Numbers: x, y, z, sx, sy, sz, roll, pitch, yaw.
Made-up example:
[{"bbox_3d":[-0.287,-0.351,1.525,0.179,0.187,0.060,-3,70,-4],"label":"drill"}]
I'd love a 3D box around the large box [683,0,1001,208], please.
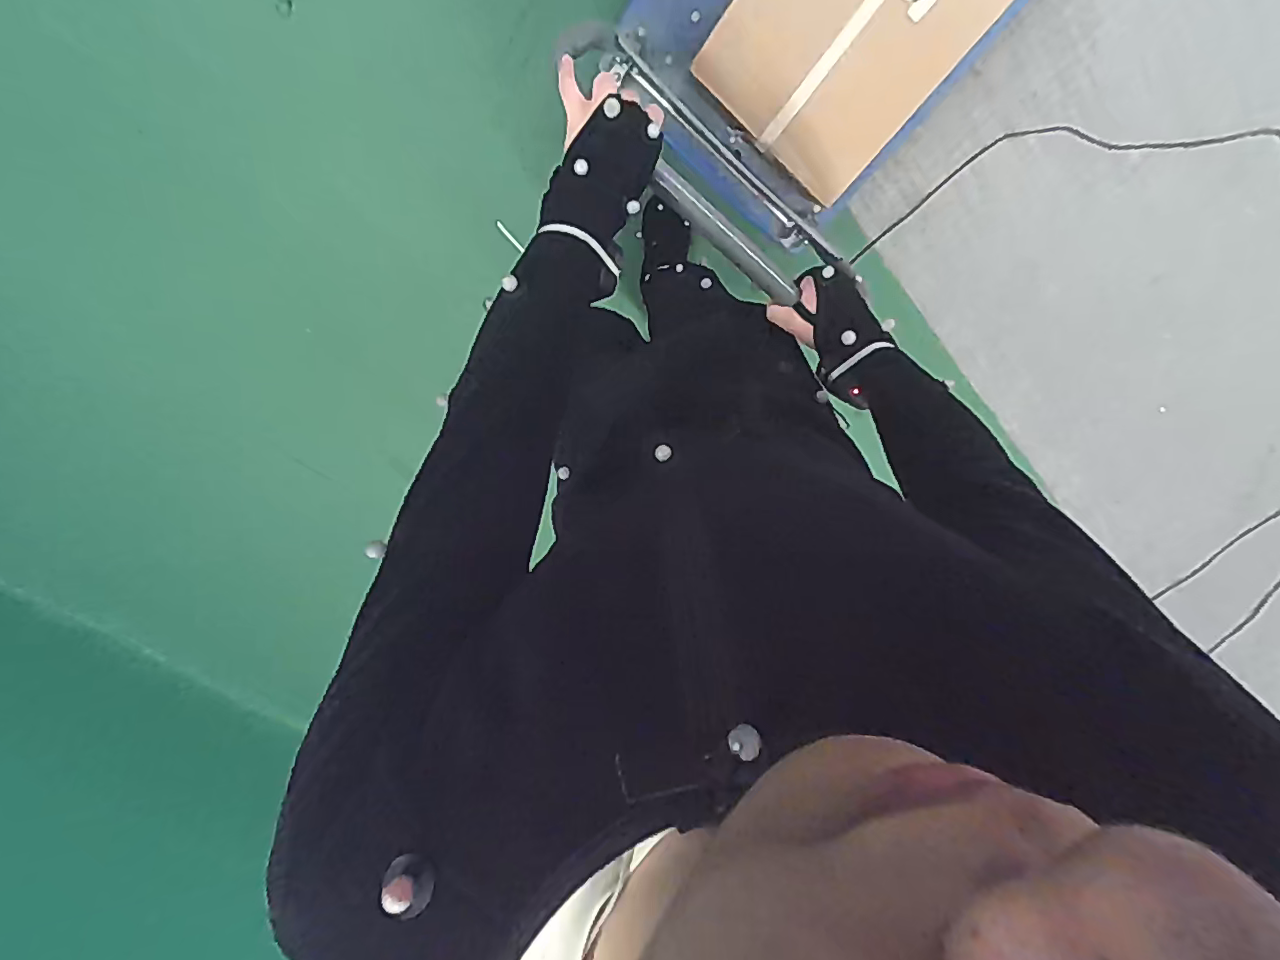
[{"bbox_3d":[0.314,-0.747,0.921,0.320,0.320,0.408,34,116,-18],"label":"large box"}]
